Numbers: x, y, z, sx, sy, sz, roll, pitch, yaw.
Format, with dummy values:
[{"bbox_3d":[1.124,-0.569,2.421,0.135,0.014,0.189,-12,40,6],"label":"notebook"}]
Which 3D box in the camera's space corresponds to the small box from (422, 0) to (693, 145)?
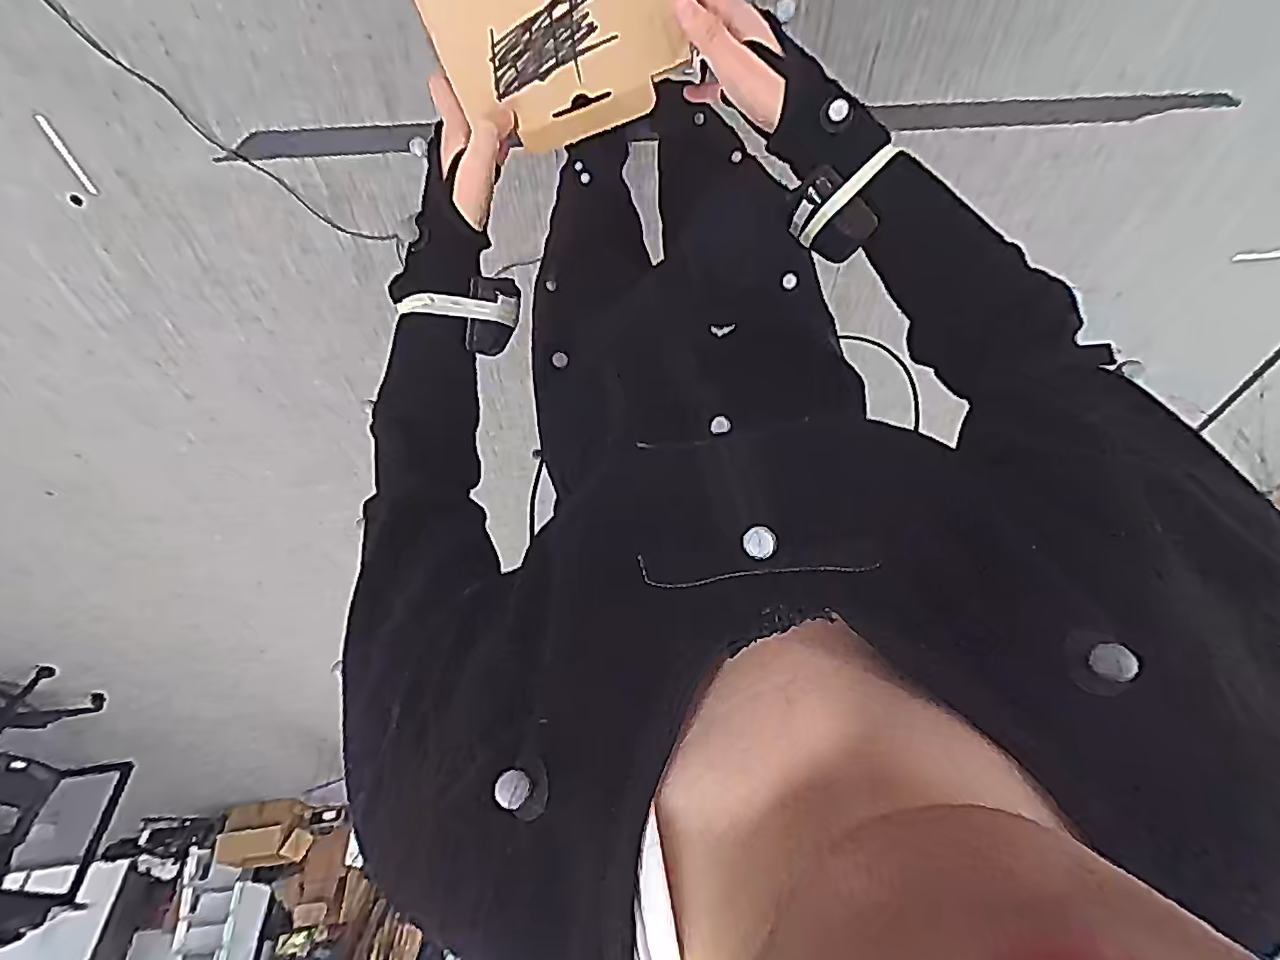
[{"bbox_3d":[-0.062,-0.379,0.396,0.168,0.176,0.179,-14,125,12],"label":"small box"}]
